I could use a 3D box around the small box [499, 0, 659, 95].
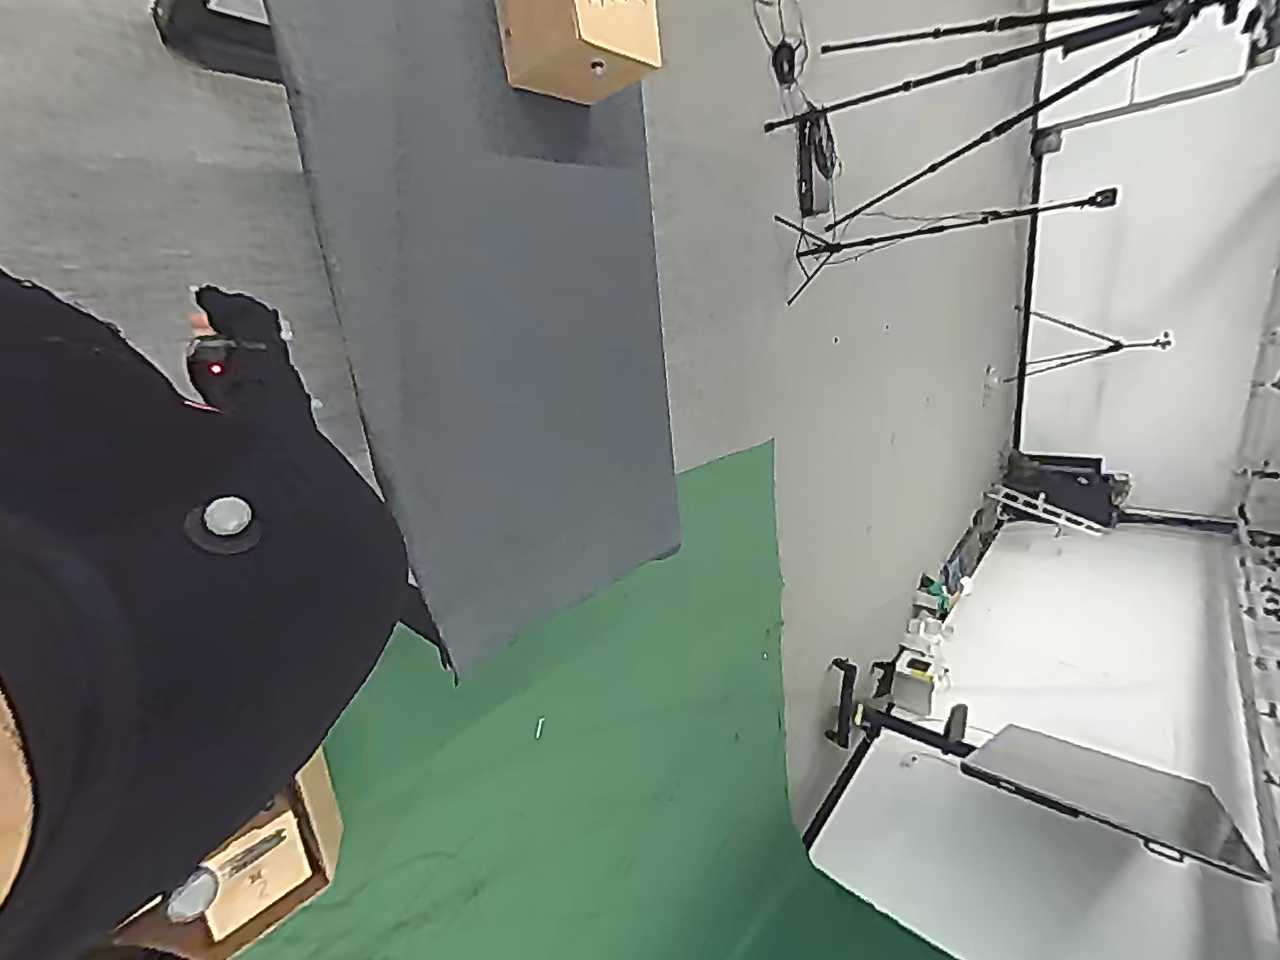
[{"bbox_3d":[-0.097,-0.704,0.803,0.179,0.176,0.168,-25,115,-43],"label":"small box"}]
